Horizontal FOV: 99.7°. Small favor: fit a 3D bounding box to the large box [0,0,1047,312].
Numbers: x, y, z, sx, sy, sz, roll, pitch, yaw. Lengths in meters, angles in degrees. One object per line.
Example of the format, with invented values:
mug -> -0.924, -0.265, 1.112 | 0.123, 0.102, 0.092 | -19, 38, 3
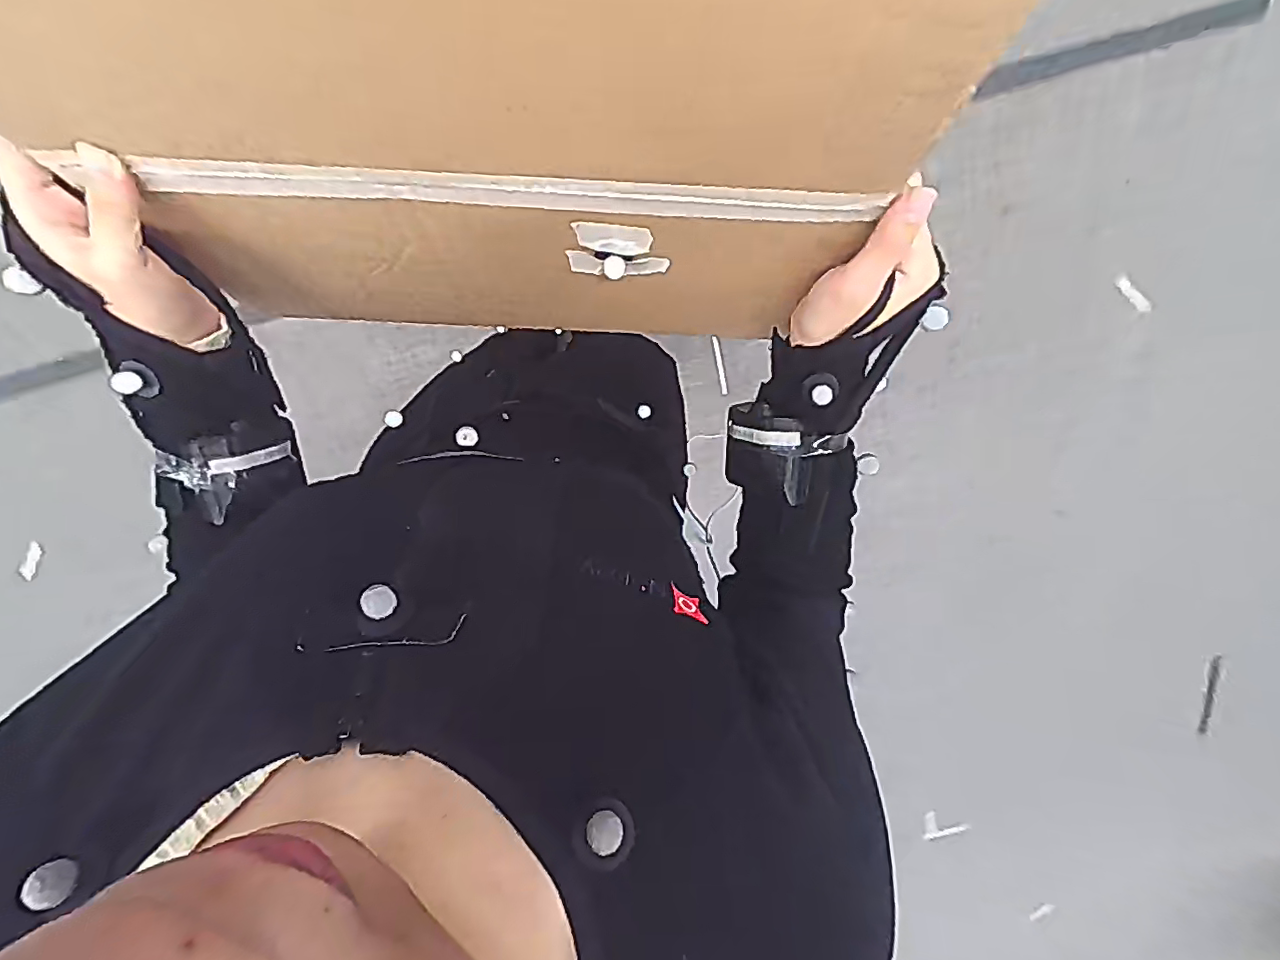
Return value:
large box -> -0.062, -0.302, 0.266 | 0.408, 0.320, 0.320 | 2, 80, -1
